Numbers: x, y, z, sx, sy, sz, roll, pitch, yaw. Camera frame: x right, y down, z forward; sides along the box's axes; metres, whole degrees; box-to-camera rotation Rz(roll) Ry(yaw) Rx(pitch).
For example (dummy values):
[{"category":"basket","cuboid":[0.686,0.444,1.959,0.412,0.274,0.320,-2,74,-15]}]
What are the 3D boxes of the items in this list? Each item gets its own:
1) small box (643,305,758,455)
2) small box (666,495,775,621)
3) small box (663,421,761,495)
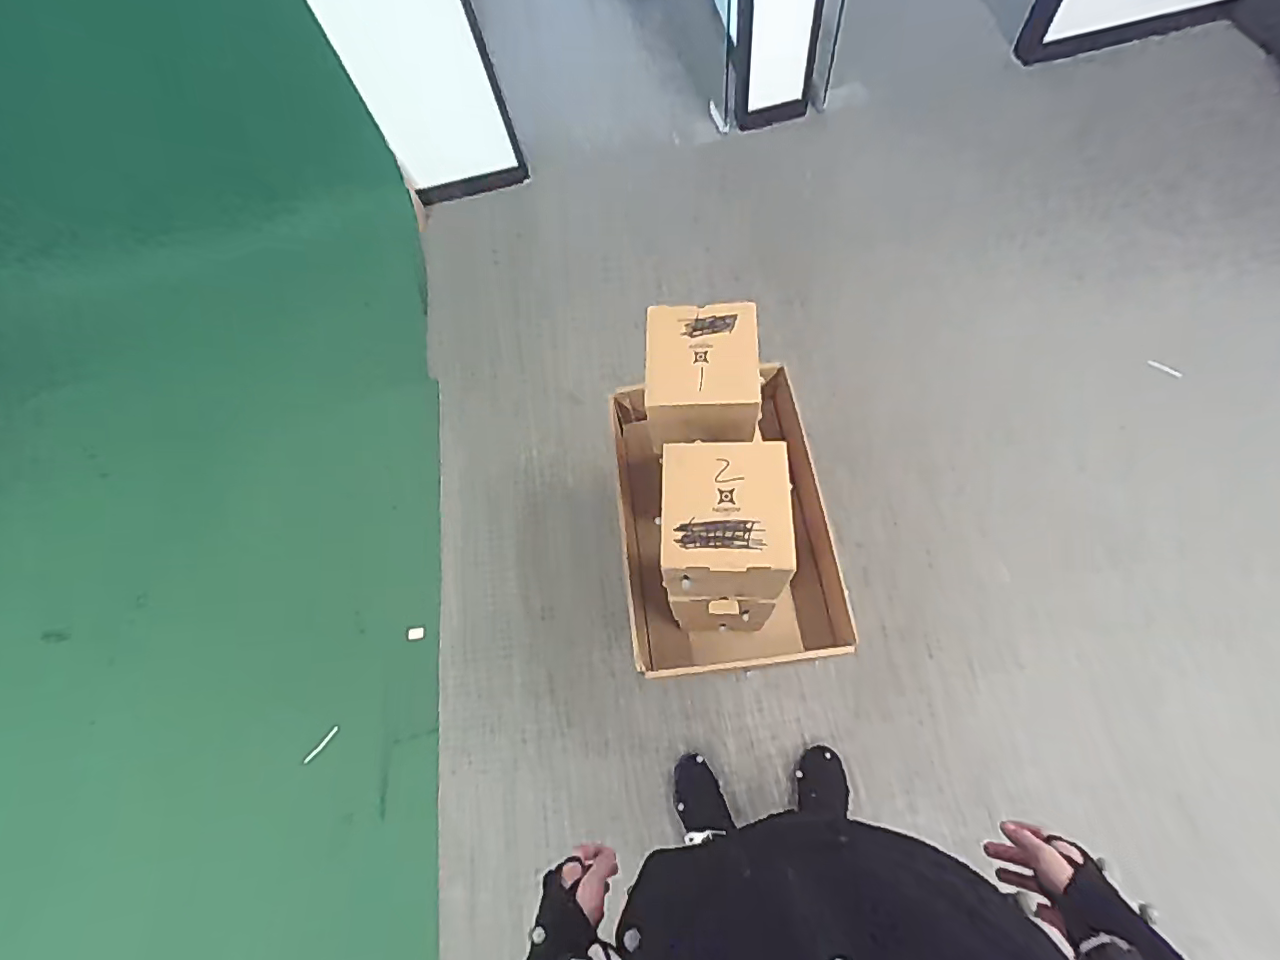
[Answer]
[{"category":"small box","cuboid":[0.097,-0.154,0.867,0.168,0.176,0.179,-1,68,7]},{"category":"small box","cuboid":[0.135,0.136,0.910,0.168,0.176,0.179,0,65,7]},{"category":"small box","cuboid":[0.122,-0.087,1.015,0.168,0.176,0.179,-10,67,3]}]
